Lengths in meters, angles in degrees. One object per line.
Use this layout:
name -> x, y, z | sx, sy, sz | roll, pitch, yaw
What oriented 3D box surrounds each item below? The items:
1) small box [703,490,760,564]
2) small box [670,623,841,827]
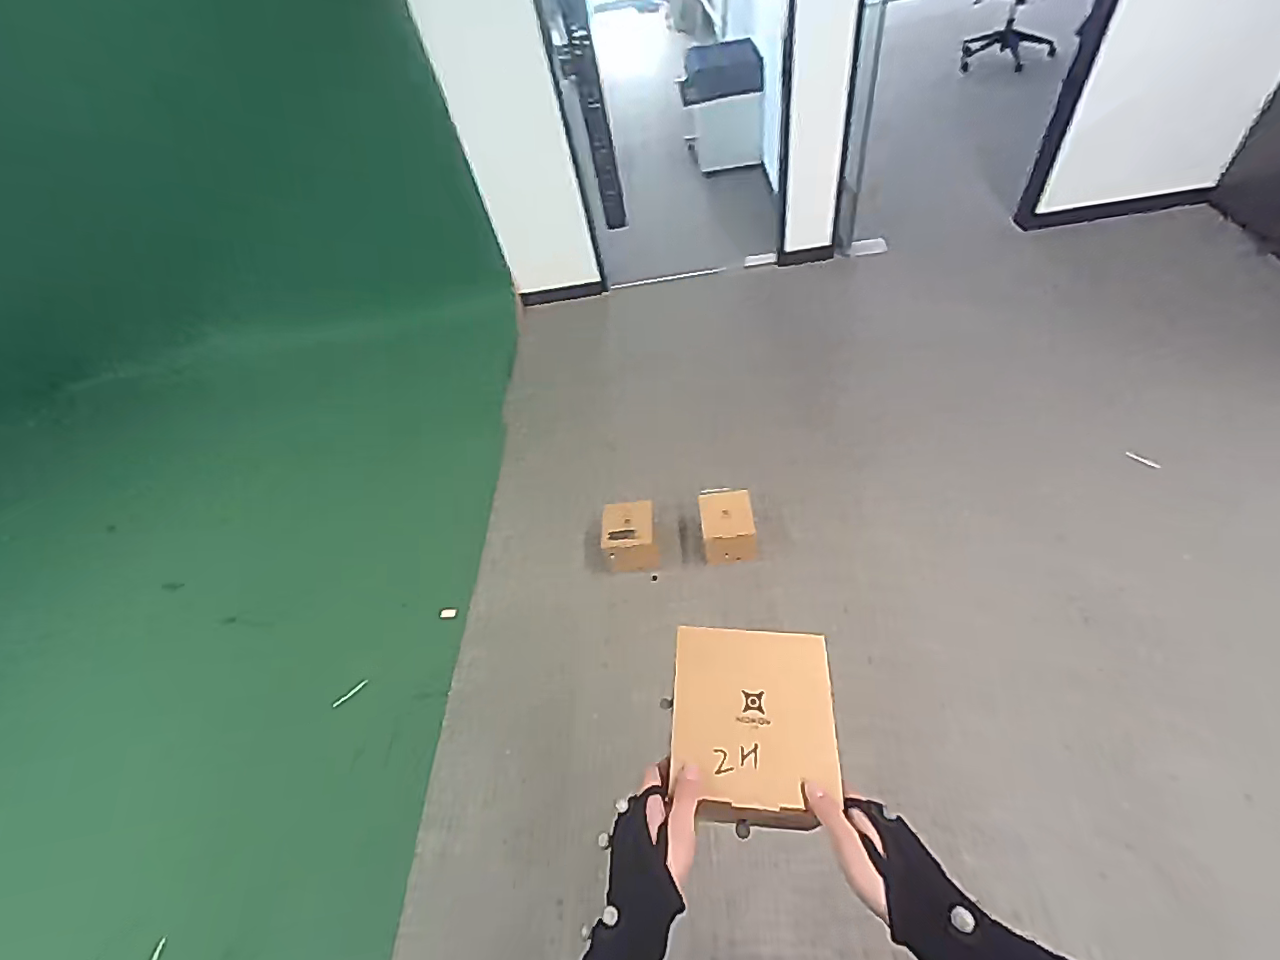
small box -> 0.303, 0.158, 1.804 | 0.168, 0.176, 0.179 | -8, 51, 7
small box -> 0.123, 0.286, 0.629 | 0.168, 0.176, 0.179 | 2, 54, 7
